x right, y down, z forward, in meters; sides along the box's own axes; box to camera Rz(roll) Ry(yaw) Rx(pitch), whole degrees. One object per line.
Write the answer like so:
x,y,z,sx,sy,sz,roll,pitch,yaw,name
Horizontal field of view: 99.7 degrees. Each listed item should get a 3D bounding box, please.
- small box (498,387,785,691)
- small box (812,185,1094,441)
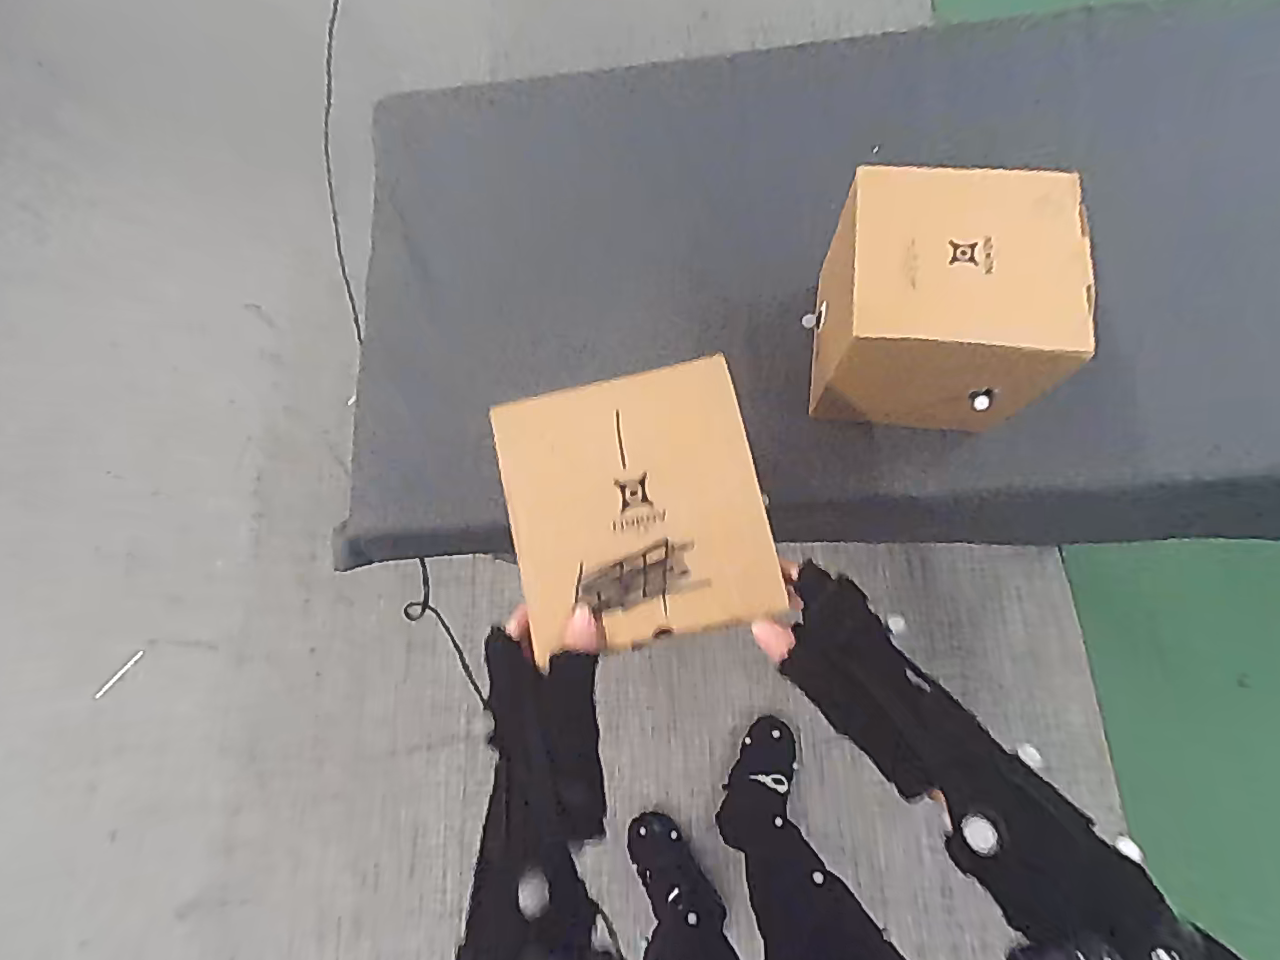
0.002,0.047,0.433,0.168,0.176,0.179,-12,81,0,small box
0.272,-0.143,0.510,0.179,0.176,0.168,6,74,8,small box
